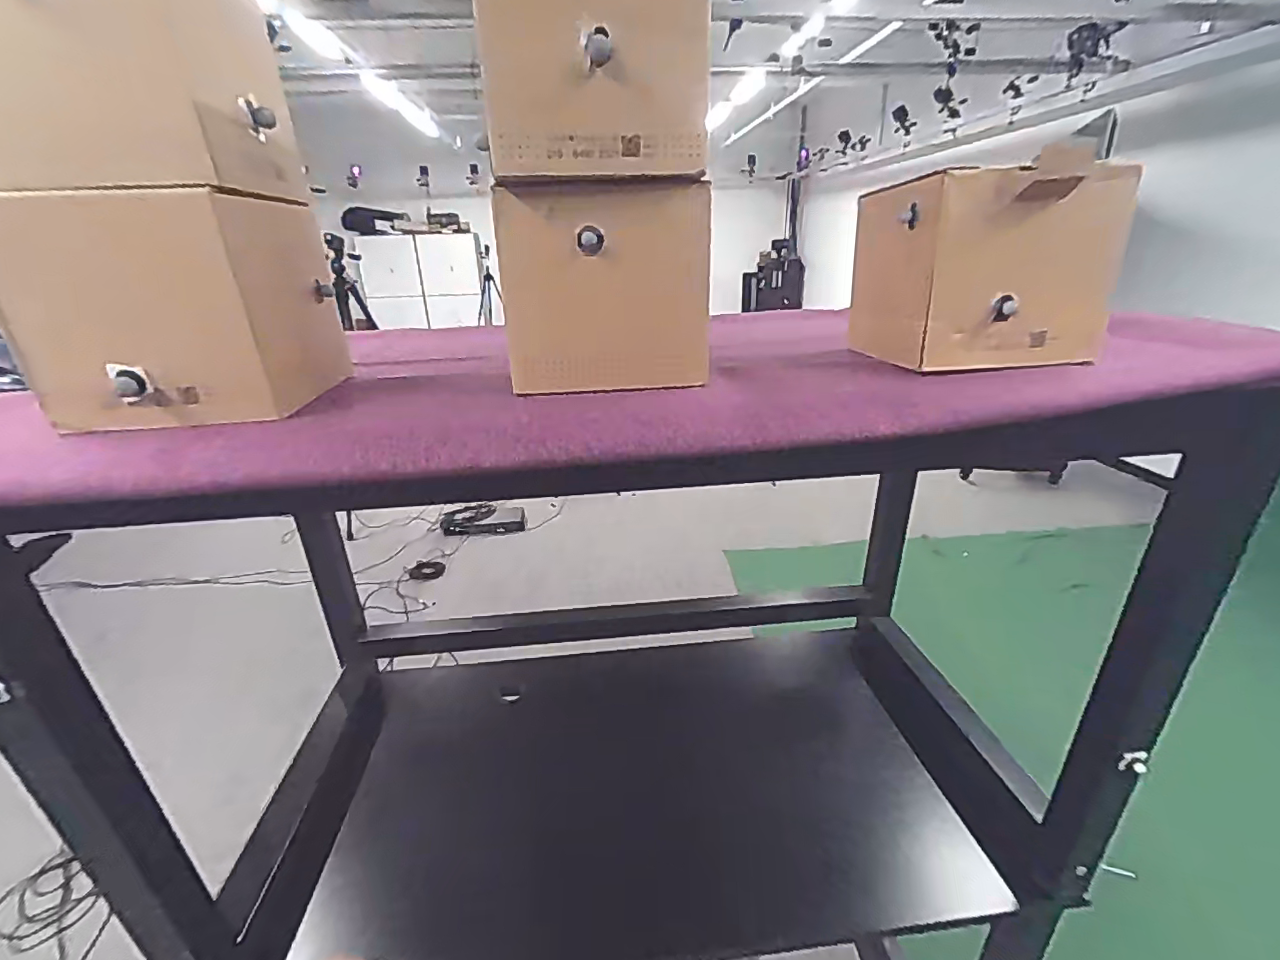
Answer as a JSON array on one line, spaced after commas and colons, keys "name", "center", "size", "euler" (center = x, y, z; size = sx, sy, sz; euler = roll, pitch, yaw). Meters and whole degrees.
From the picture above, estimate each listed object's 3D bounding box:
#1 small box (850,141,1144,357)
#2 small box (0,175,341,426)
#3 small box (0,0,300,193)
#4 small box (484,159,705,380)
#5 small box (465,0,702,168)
[{"name": "small box", "center": [0.323, -0.218, 0.536], "size": [0.168, 0.176, 0.179], "euler": [-4, 21, -1]}, {"name": "small box", "center": [-0.379, -0.153, 0.459], "size": [0.168, 0.176, 0.179], "euler": [-6, 25, -7]}, {"name": "small box", "center": [-0.392, -0.304, 0.394], "size": [0.179, 0.176, 0.168], "euler": [-7, 24, -8]}, {"name": "small box", "center": [-0.036, -0.193, 0.518], "size": [0.179, 0.176, 0.168], "euler": [-3, 22, -4]}, {"name": "small box", "center": [-0.047, -0.340, 0.445], "size": [0.168, 0.176, 0.179], "euler": [-6, 23, -8]}]
